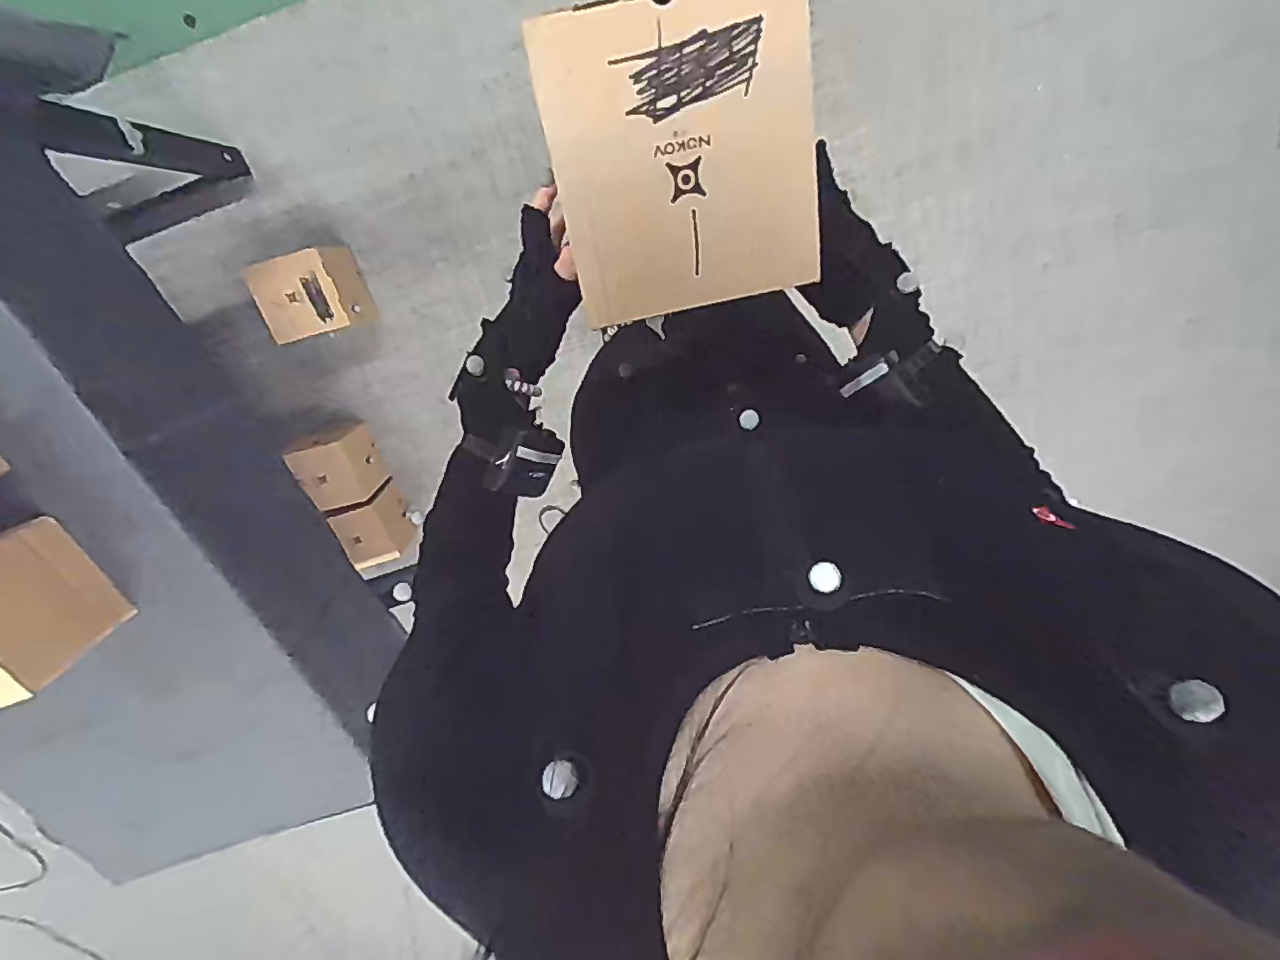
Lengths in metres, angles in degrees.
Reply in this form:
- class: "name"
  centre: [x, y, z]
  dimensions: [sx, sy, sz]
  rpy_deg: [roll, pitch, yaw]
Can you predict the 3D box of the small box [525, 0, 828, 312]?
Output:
- class: "small box"
  centre: [0.023, -0.235, 0.396]
  dimensions: [0.168, 0.176, 0.179]
  rpy_deg: [-12, 115, 0]
